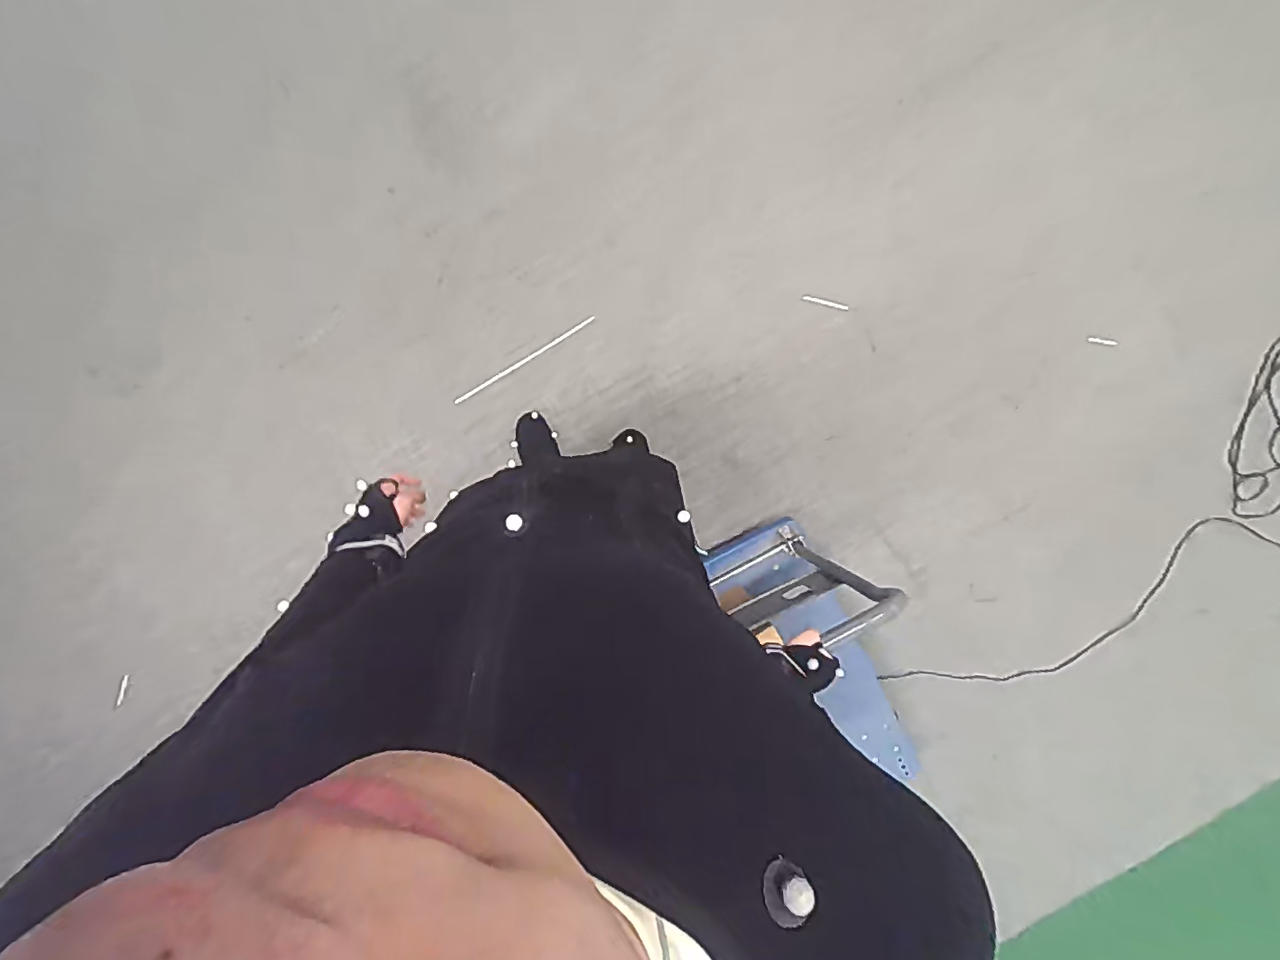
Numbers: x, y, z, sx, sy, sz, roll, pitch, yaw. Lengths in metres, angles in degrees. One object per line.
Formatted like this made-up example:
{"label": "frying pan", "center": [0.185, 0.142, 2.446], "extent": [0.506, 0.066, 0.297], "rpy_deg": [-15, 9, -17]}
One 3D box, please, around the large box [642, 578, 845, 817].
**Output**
{"label": "large box", "center": [0.242, 0.529, 1.385], "extent": [0.320, 0.320, 0.408], "rpy_deg": [-29, 98, 0]}
